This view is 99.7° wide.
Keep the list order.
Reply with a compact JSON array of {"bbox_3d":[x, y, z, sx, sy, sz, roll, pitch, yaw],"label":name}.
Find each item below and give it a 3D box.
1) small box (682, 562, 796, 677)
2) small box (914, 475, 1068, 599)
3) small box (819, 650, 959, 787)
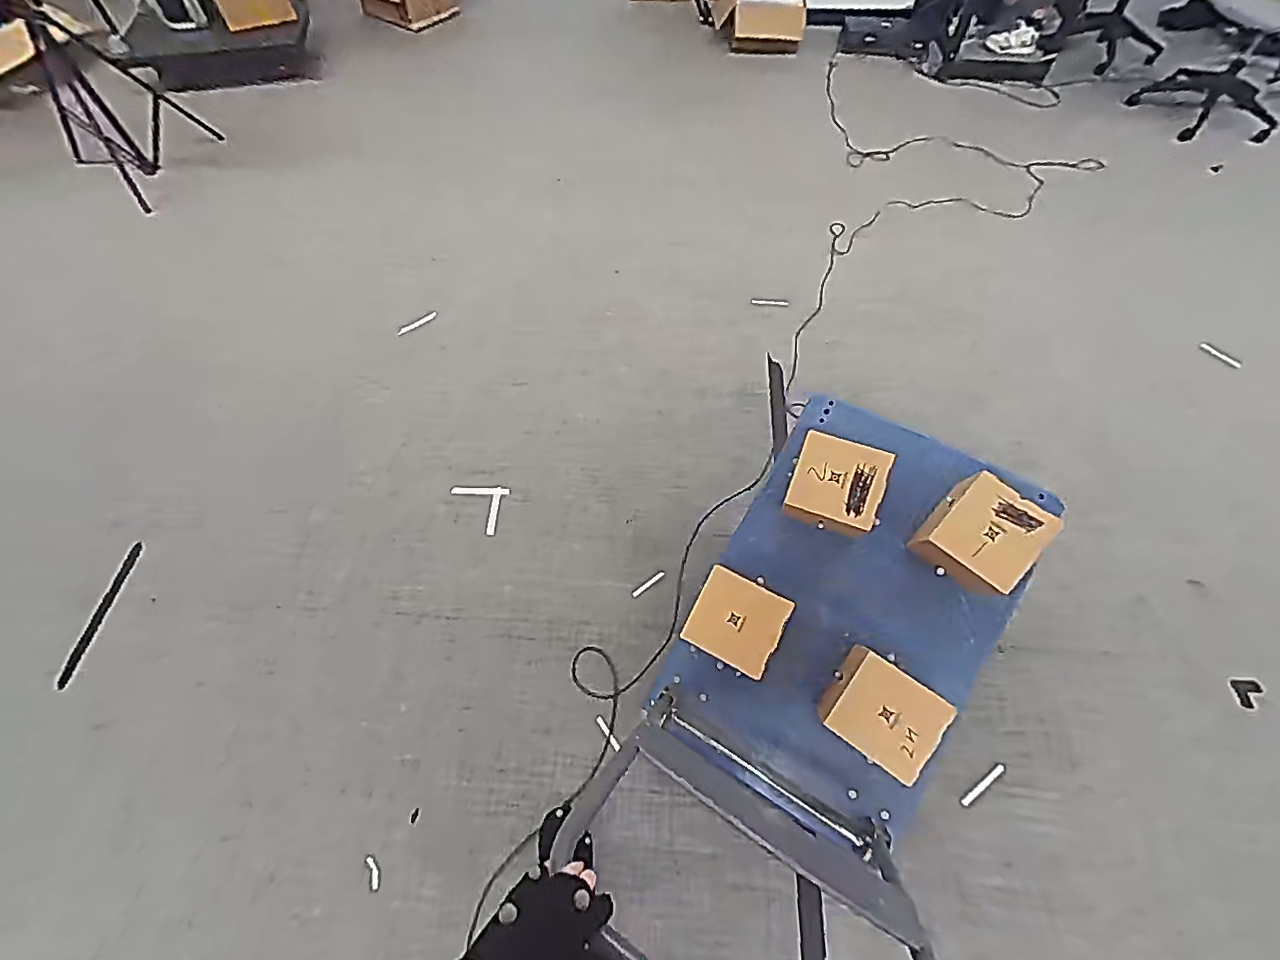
[{"bbox_3d":[0.210,0.293,1.149,0.179,0.176,0.168,27,84,15],"label":"small box"},{"bbox_3d":[0.685,0.119,1.084,0.168,0.176,0.179,41,89,17],"label":"small box"},{"bbox_3d":[0.470,0.449,1.056,0.179,0.176,0.168,35,87,17],"label":"small box"}]
